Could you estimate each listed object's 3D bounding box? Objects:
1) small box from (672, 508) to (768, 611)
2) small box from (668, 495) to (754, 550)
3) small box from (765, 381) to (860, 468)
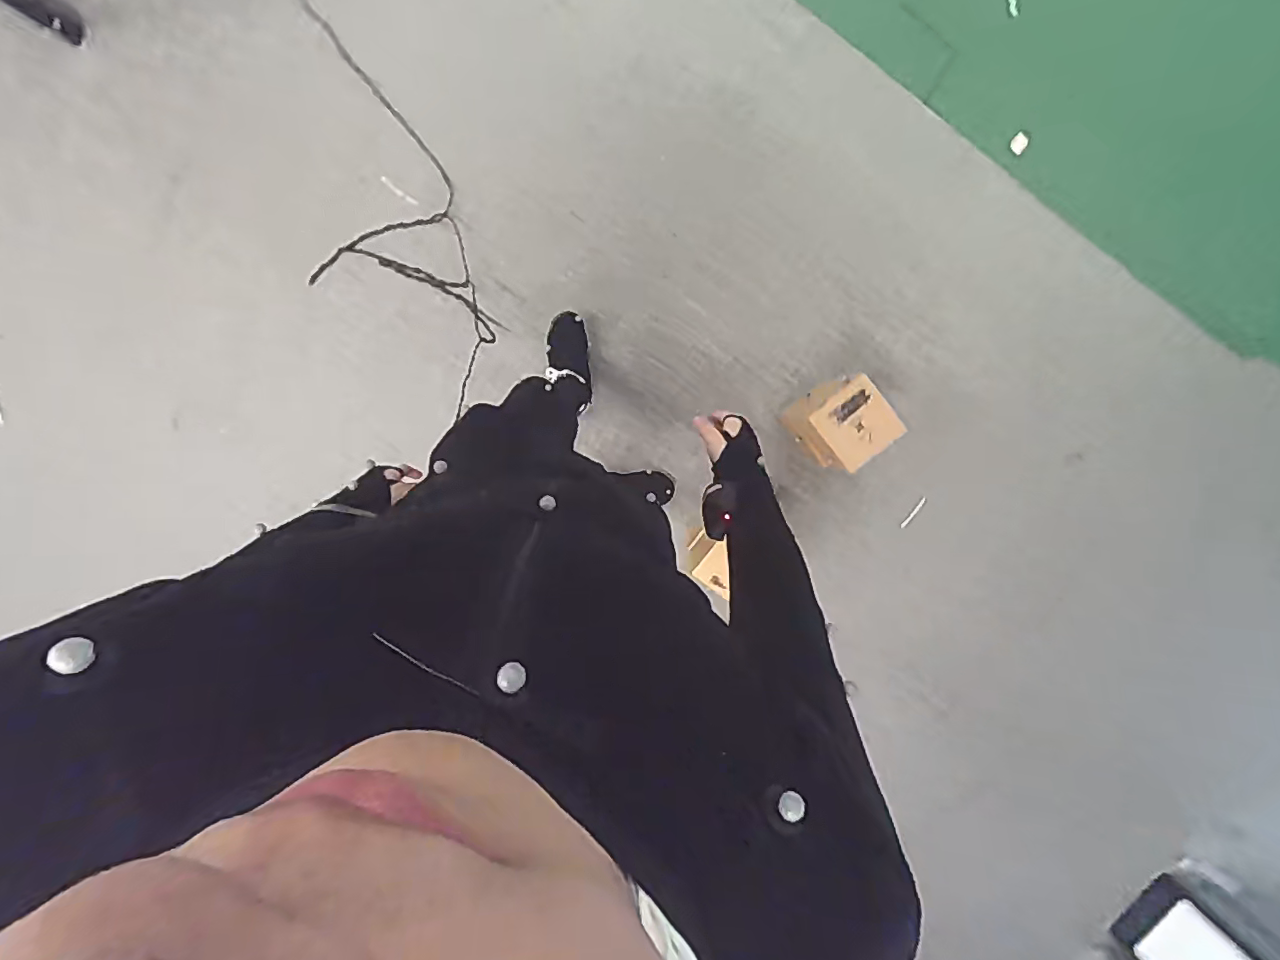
[{"bbox_3d":[0.195,0.195,1.393,0.168,0.176,0.179,39,97,-6],"label":"small box"},{"bbox_3d":[0.196,0.160,1.554,0.179,0.176,0.168,37,98,-6],"label":"small box"},{"bbox_3d":[0.468,-0.157,1.496,0.168,0.176,0.179,-32,98,6],"label":"small box"}]
